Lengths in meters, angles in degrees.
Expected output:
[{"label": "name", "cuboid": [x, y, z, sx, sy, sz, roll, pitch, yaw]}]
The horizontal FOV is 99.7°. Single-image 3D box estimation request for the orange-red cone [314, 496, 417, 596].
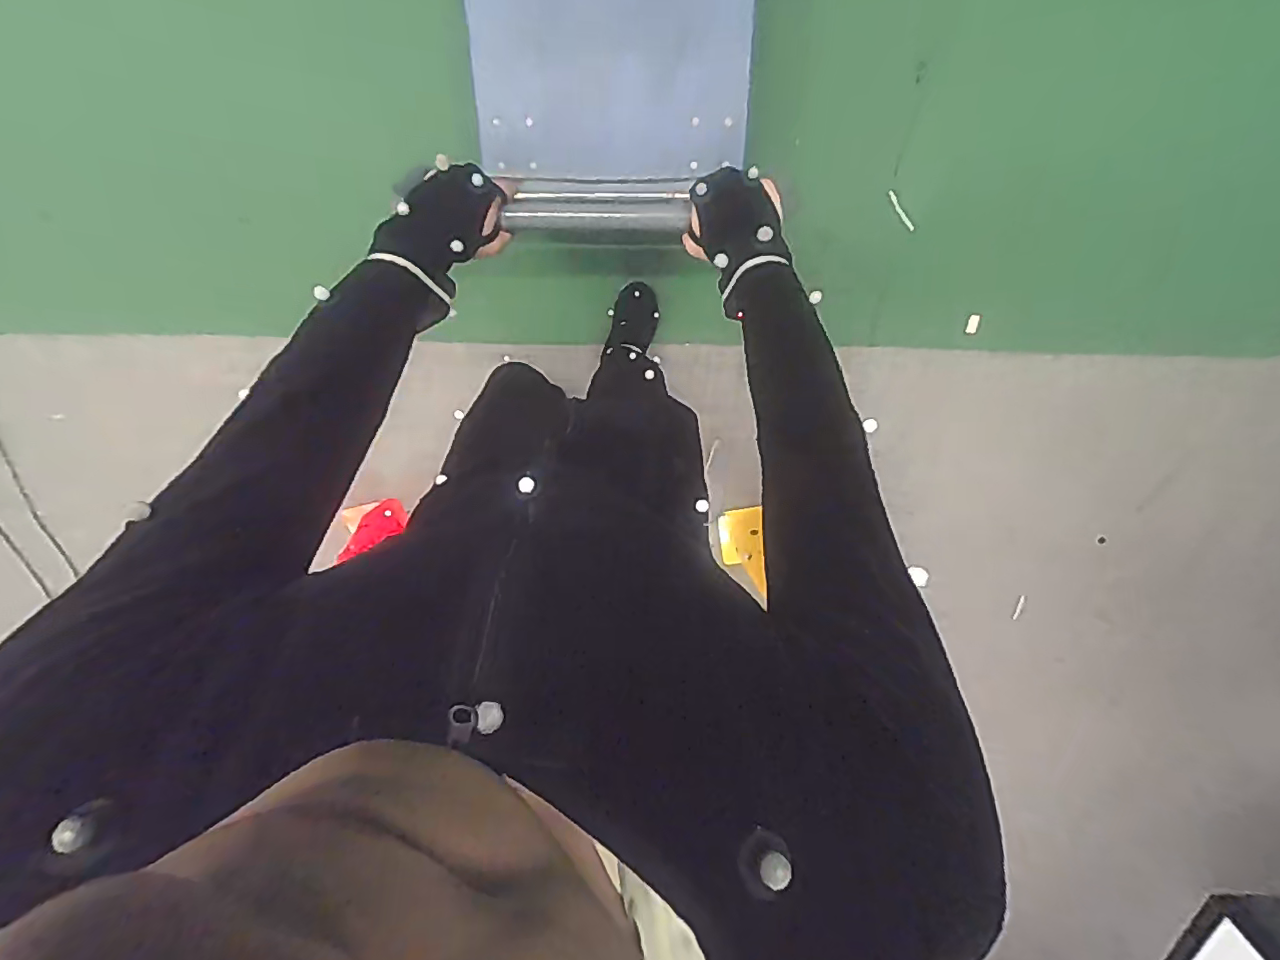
[{"label": "orange-red cone", "cuboid": [-0.835, 0.219, 1.574, 0.199, 0.360, 0.198, -11, 113, 6]}]
